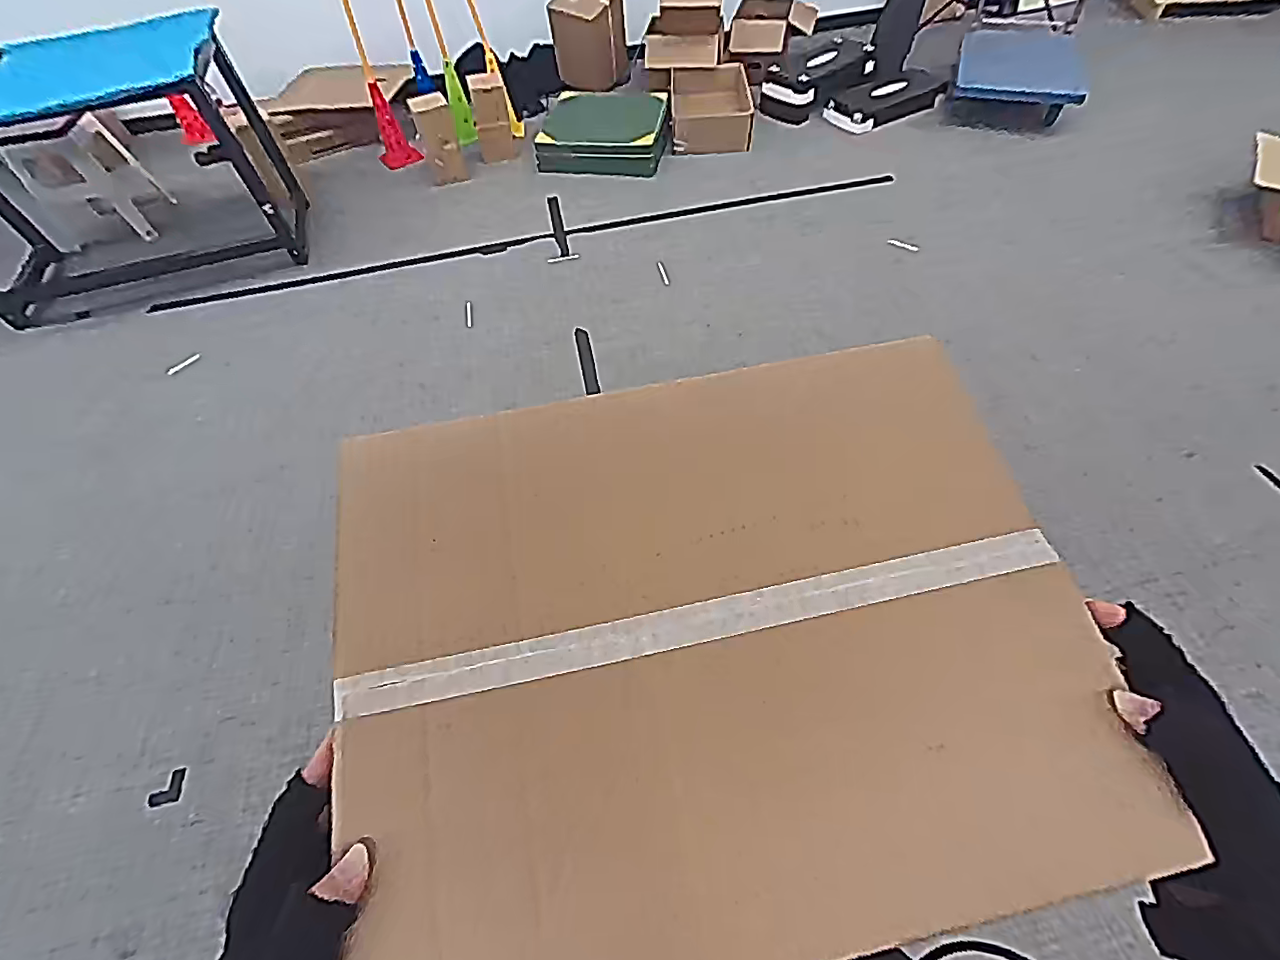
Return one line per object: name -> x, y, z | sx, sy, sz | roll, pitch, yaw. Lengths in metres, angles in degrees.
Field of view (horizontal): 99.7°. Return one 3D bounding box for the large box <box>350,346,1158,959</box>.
large box -> 0.040, 0.138, 0.447 | 0.408, 0.320, 0.320 | -11, 67, -4
